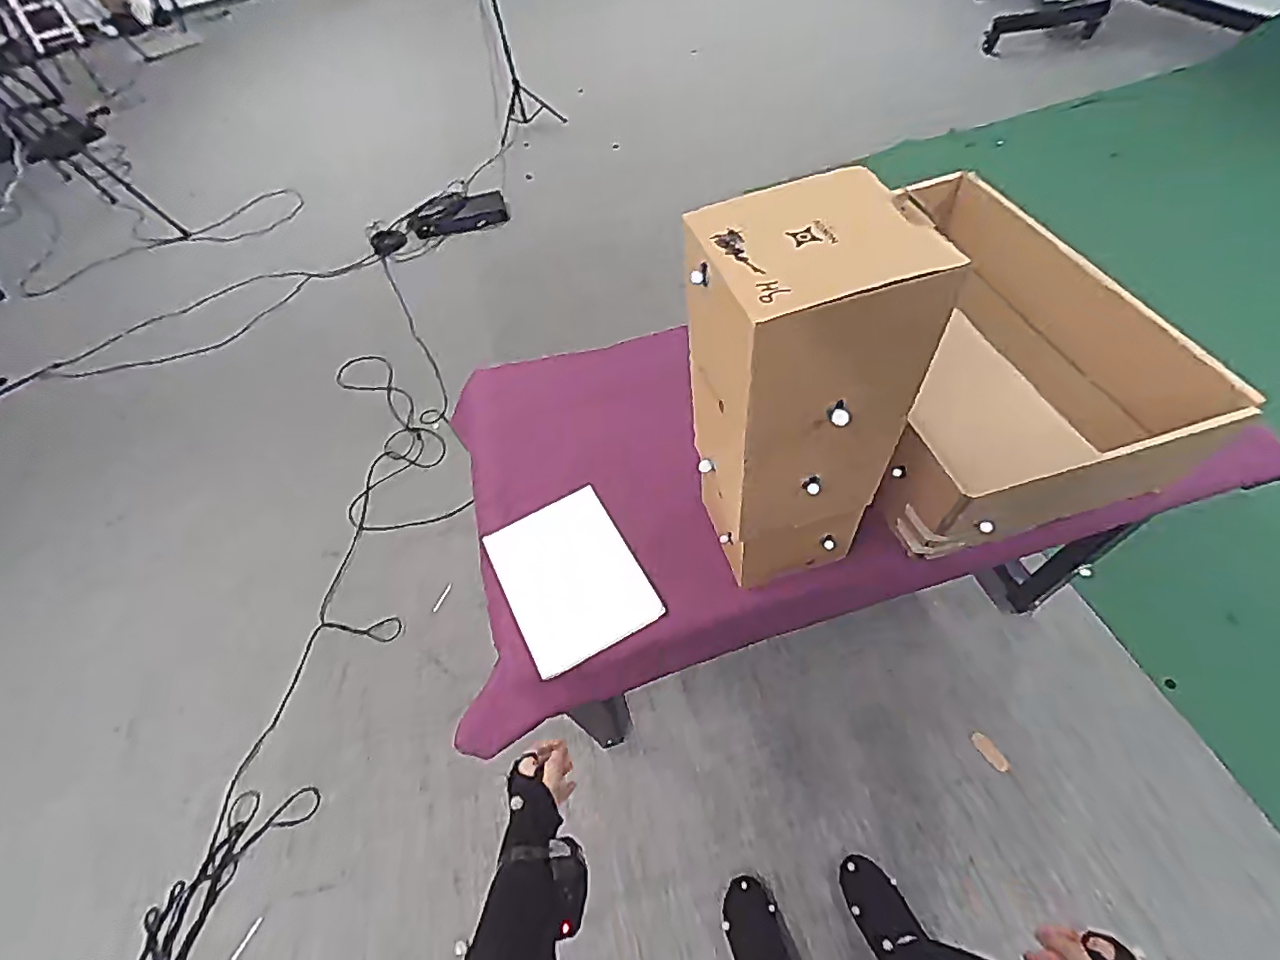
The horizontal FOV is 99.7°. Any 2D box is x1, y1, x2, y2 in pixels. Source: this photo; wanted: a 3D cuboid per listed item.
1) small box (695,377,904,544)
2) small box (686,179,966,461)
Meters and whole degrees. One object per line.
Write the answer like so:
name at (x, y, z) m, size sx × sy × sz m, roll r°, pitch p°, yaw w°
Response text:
small box at (0.170, -0.049, 0.640) m, size 0.179 × 0.176 × 0.168 m, roll -16°, pitch 53°, yaw -2°
small box at (0.150, -0.144, 0.506) m, size 0.179 × 0.176 × 0.168 m, roll -16°, pitch 53°, yaw -4°
